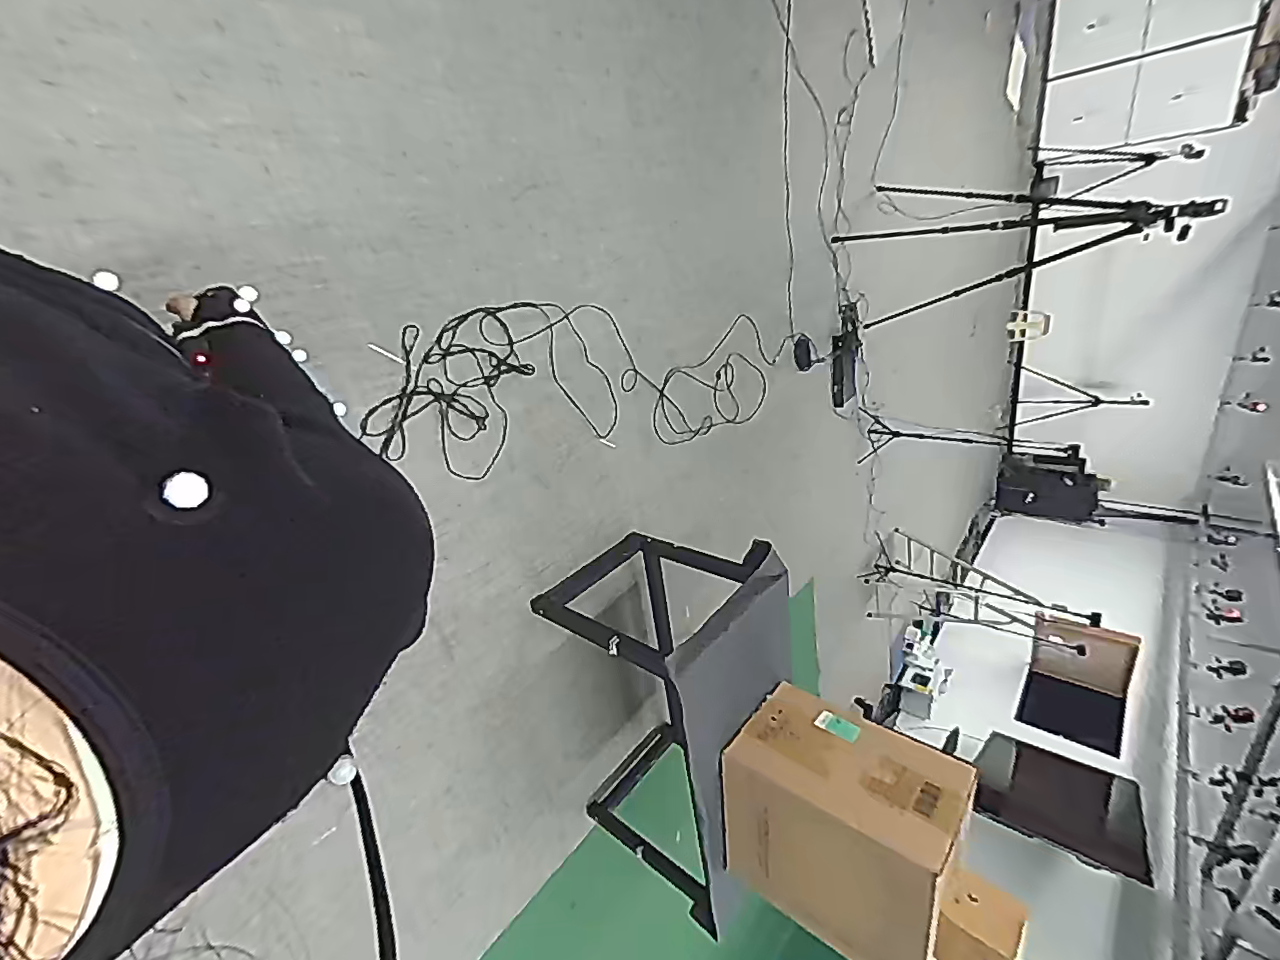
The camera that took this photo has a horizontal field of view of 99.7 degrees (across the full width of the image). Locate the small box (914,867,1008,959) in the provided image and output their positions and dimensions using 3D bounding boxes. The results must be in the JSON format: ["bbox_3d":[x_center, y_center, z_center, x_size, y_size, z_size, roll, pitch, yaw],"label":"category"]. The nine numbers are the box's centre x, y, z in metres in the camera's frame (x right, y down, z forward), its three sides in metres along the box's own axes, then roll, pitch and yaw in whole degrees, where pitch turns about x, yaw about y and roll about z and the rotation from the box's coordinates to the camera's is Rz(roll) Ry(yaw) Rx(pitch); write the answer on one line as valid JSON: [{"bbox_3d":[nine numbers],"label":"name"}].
[{"bbox_3d":[0.842,1.186,1.427,0.168,0.176,0.179,-21,114,-42],"label":"small box"}]
